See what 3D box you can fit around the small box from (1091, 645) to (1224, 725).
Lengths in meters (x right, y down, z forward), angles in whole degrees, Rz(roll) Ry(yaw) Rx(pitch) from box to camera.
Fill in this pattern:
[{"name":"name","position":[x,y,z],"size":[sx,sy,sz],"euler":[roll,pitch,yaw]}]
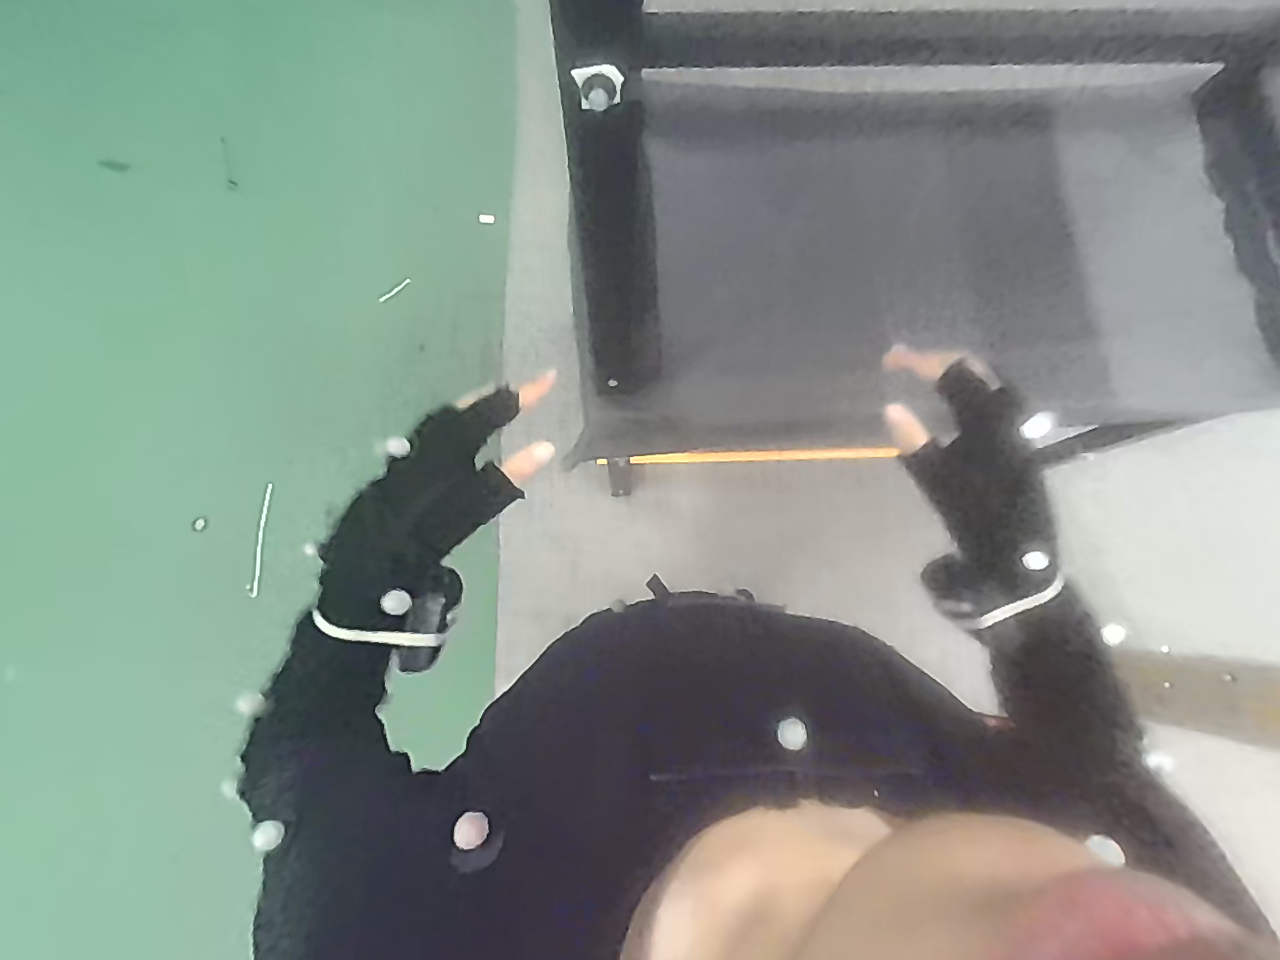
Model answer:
[{"name":"small box","position":[1.320,0.520,1.391],"size":[0.179,0.176,0.168],"euler":[4,77,0]}]

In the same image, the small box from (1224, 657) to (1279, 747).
[{"name":"small box","position":[1.328,0.447,1.072],"size":[0.179,0.176,0.168],"euler":[2,78,-1]}]
